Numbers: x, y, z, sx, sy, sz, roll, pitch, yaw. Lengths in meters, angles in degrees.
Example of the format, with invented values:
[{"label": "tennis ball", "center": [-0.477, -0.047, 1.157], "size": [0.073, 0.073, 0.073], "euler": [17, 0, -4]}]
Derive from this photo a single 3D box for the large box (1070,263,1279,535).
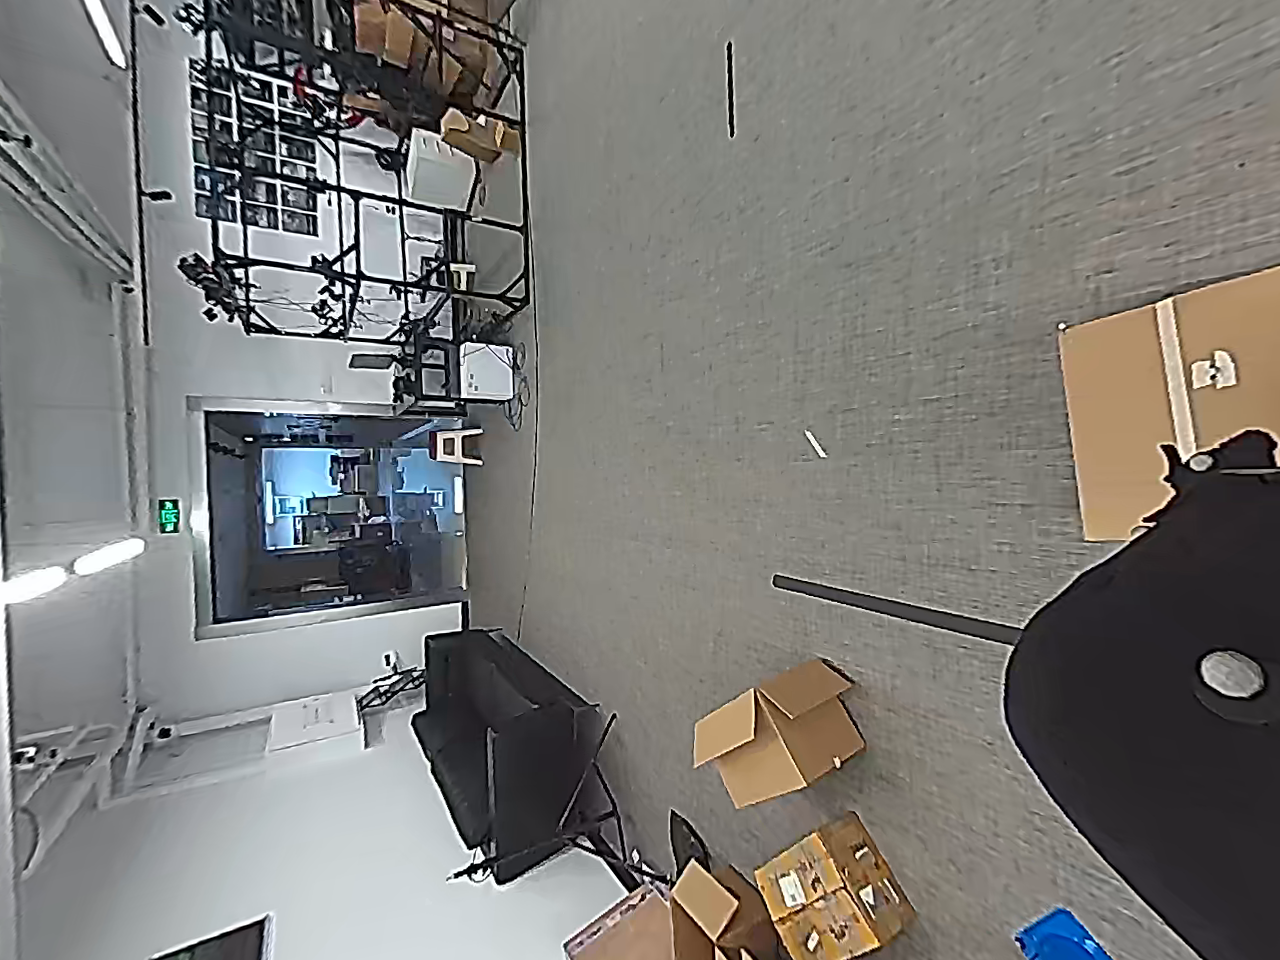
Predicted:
[{"label": "large box", "center": [1.036, -0.113, 0.953], "size": [0.320, 0.320, 0.408], "euler": [-11, 81, 59]}]
